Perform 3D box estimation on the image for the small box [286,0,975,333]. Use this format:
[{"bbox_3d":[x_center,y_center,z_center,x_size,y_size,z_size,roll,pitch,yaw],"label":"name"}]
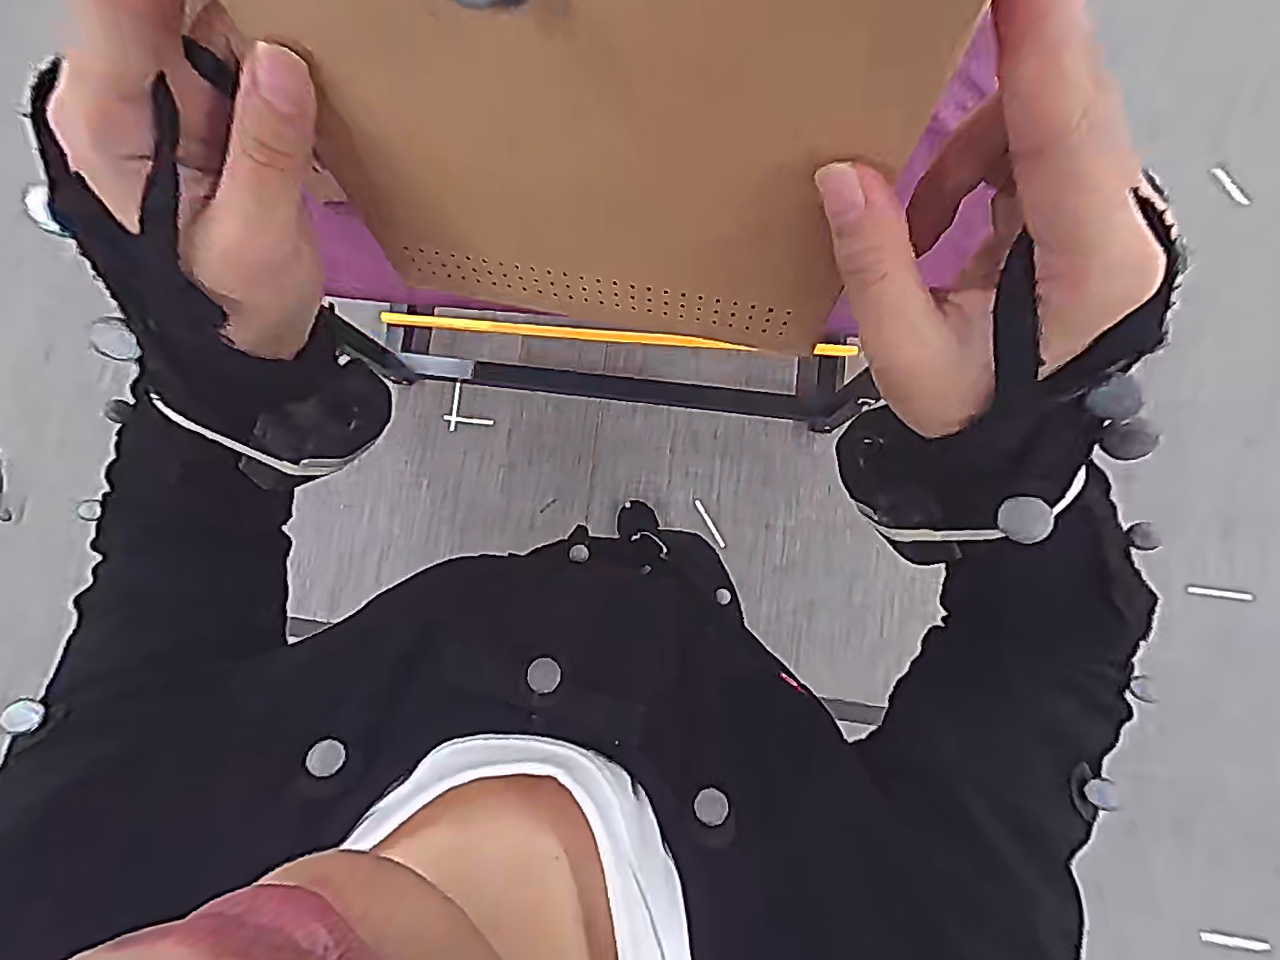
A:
[{"bbox_3d":[0.004,-0.169,0.170,0.179,0.176,0.168,12,72,5],"label":"small box"}]
